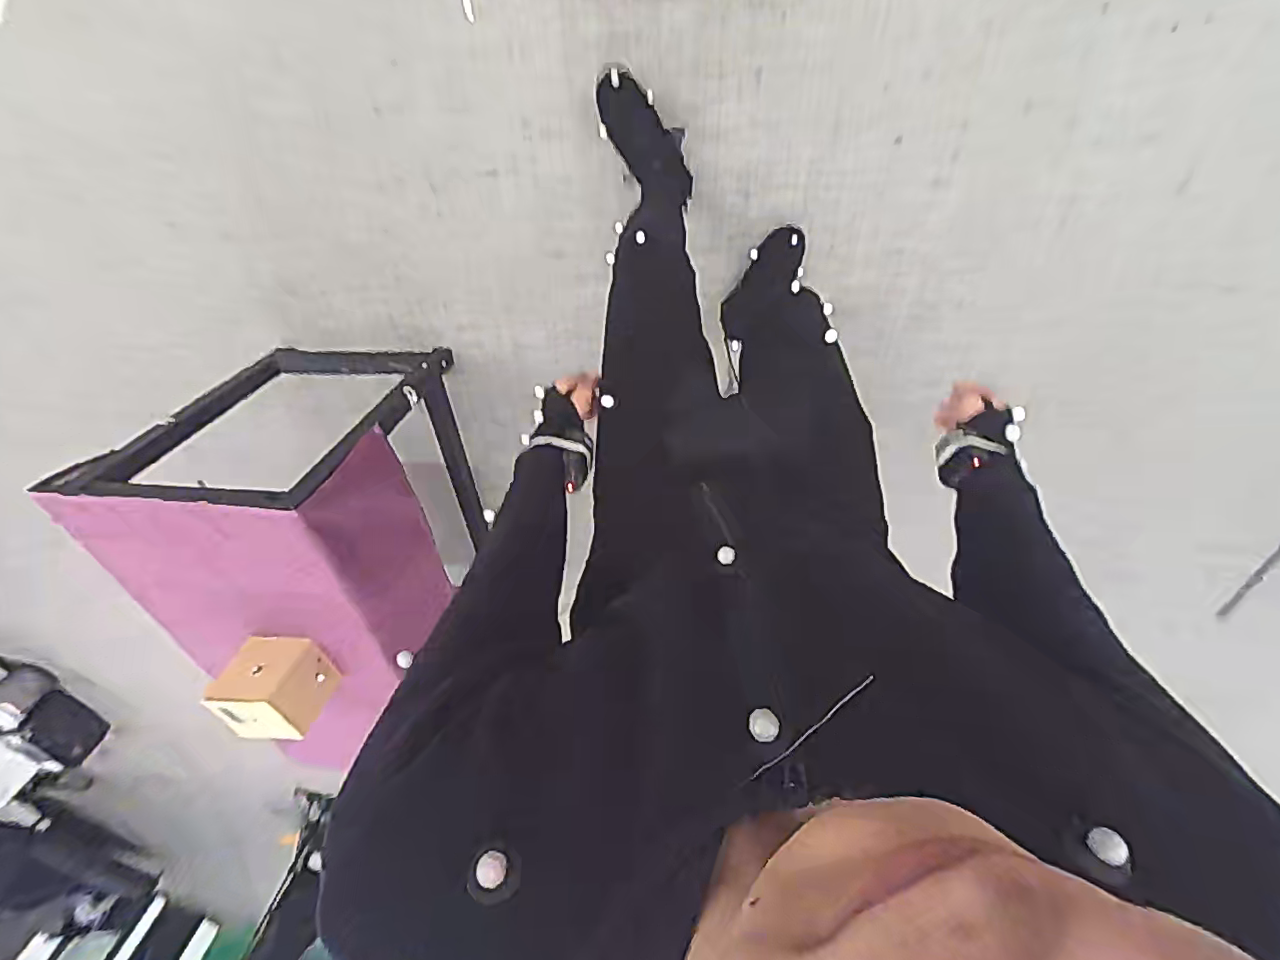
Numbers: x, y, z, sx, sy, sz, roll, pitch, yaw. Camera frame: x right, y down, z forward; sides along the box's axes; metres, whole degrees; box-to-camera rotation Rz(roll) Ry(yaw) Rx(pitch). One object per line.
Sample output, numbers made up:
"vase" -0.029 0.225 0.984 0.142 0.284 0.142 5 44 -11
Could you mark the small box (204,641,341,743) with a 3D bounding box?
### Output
"small box" -0.868 0.504 1.297 0.179 0.176 0.168 -2 128 11
